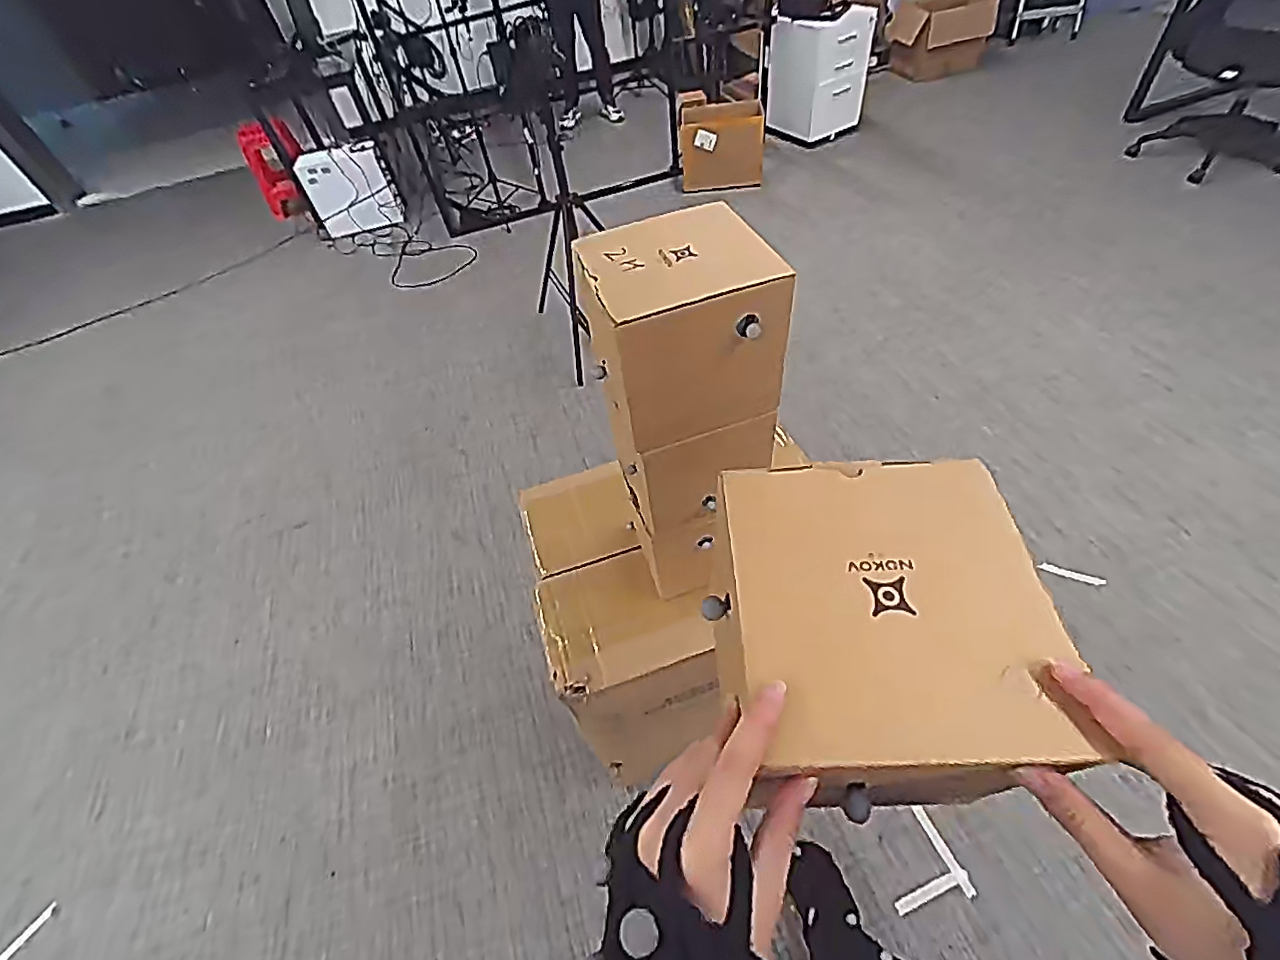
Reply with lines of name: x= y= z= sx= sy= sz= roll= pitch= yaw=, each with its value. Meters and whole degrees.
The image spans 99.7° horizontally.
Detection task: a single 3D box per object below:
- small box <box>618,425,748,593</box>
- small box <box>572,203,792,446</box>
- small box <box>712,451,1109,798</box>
small box: x=0.080 y=0.049 z=0.835 sx=0.179 sy=0.176 sz=0.168 roll=-18 pitch=50 yaw=-7
small box: x=0.041 y=-0.166 z=0.588 sx=0.179 sy=0.176 sz=0.168 roll=-18 pitch=50 yaw=-6
small box: x=0.137 y=0.104 z=0.359 sx=0.168 sy=0.176 sz=0.179 roll=-3 pitch=52 yaw=4
